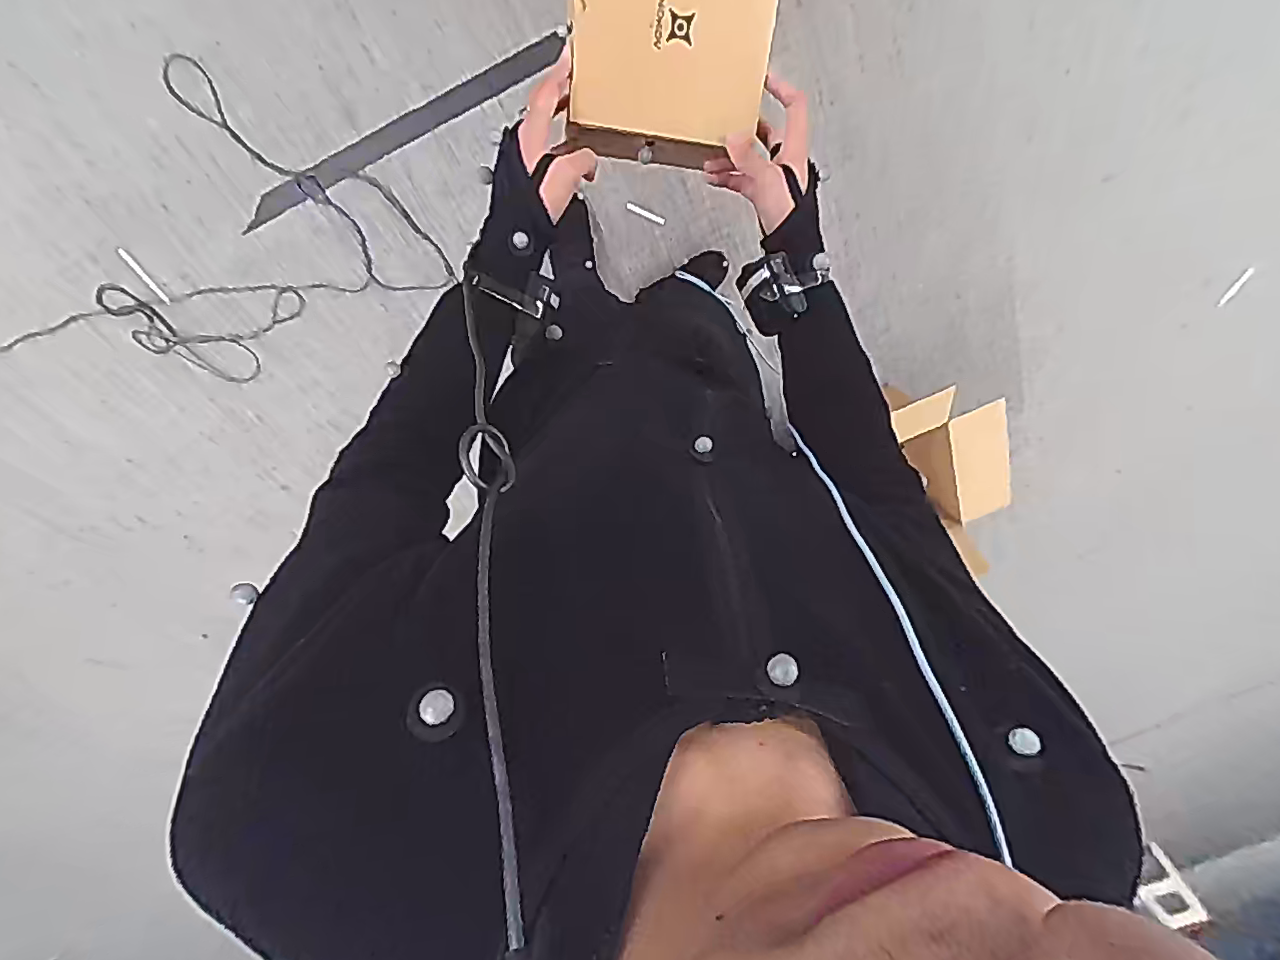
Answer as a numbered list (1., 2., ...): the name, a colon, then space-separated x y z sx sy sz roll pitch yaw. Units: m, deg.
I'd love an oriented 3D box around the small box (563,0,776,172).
1. small box: 0.017 -0.413 0.534 0.179 0.176 0.168 2 113 -9
